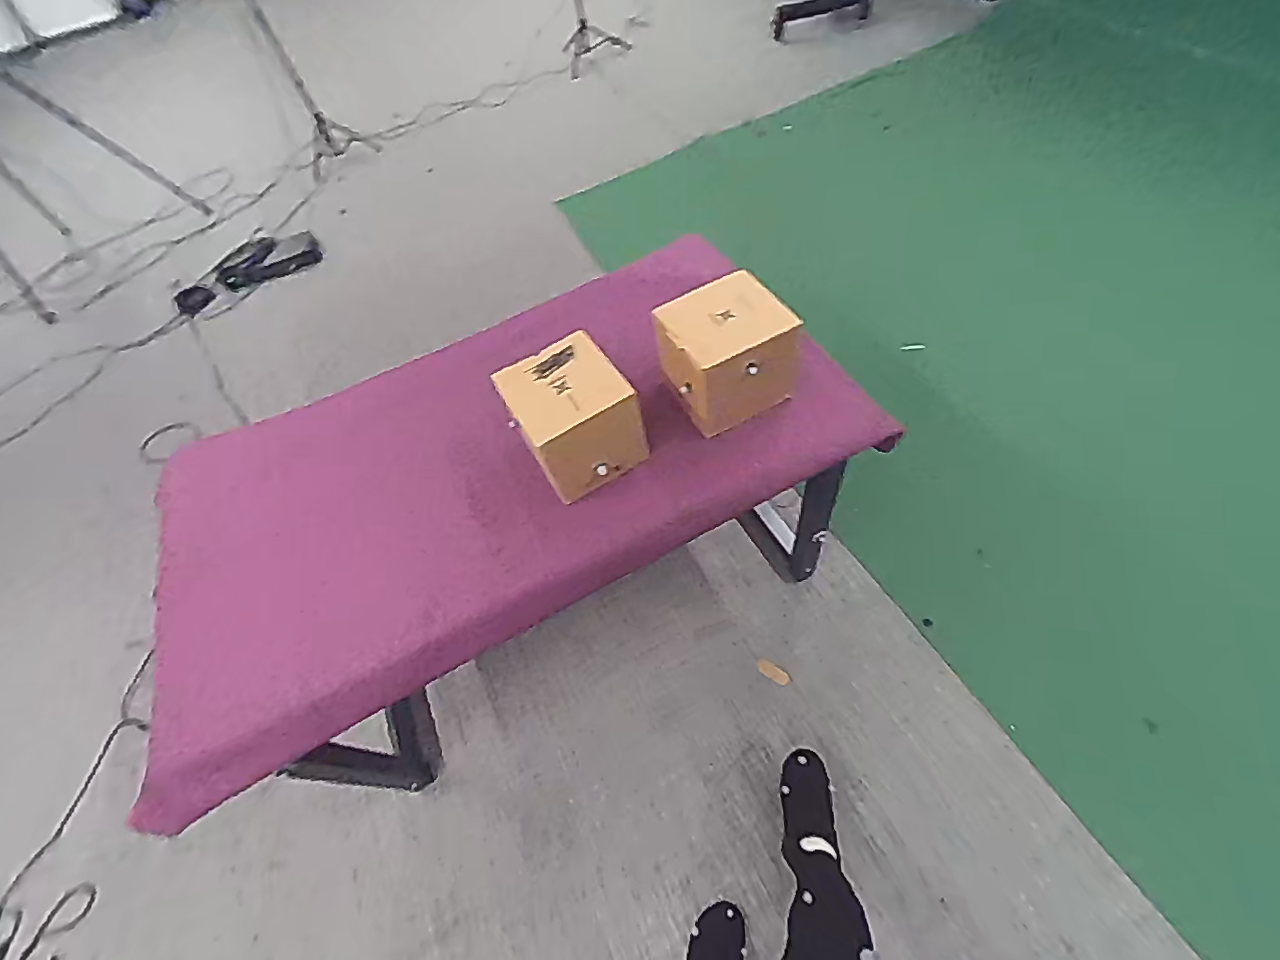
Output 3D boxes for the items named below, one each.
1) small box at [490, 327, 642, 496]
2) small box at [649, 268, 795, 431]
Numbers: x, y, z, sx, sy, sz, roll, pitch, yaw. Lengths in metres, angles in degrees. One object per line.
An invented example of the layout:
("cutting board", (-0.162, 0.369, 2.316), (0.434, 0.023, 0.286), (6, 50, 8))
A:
("small box", (-0.114, -0.107, 0.874), (0.168, 0.176, 0.179), (-30, 58, -11))
("small box", (0.135, -0.212, 0.903), (0.179, 0.176, 0.168), (-25, 56, -8))
